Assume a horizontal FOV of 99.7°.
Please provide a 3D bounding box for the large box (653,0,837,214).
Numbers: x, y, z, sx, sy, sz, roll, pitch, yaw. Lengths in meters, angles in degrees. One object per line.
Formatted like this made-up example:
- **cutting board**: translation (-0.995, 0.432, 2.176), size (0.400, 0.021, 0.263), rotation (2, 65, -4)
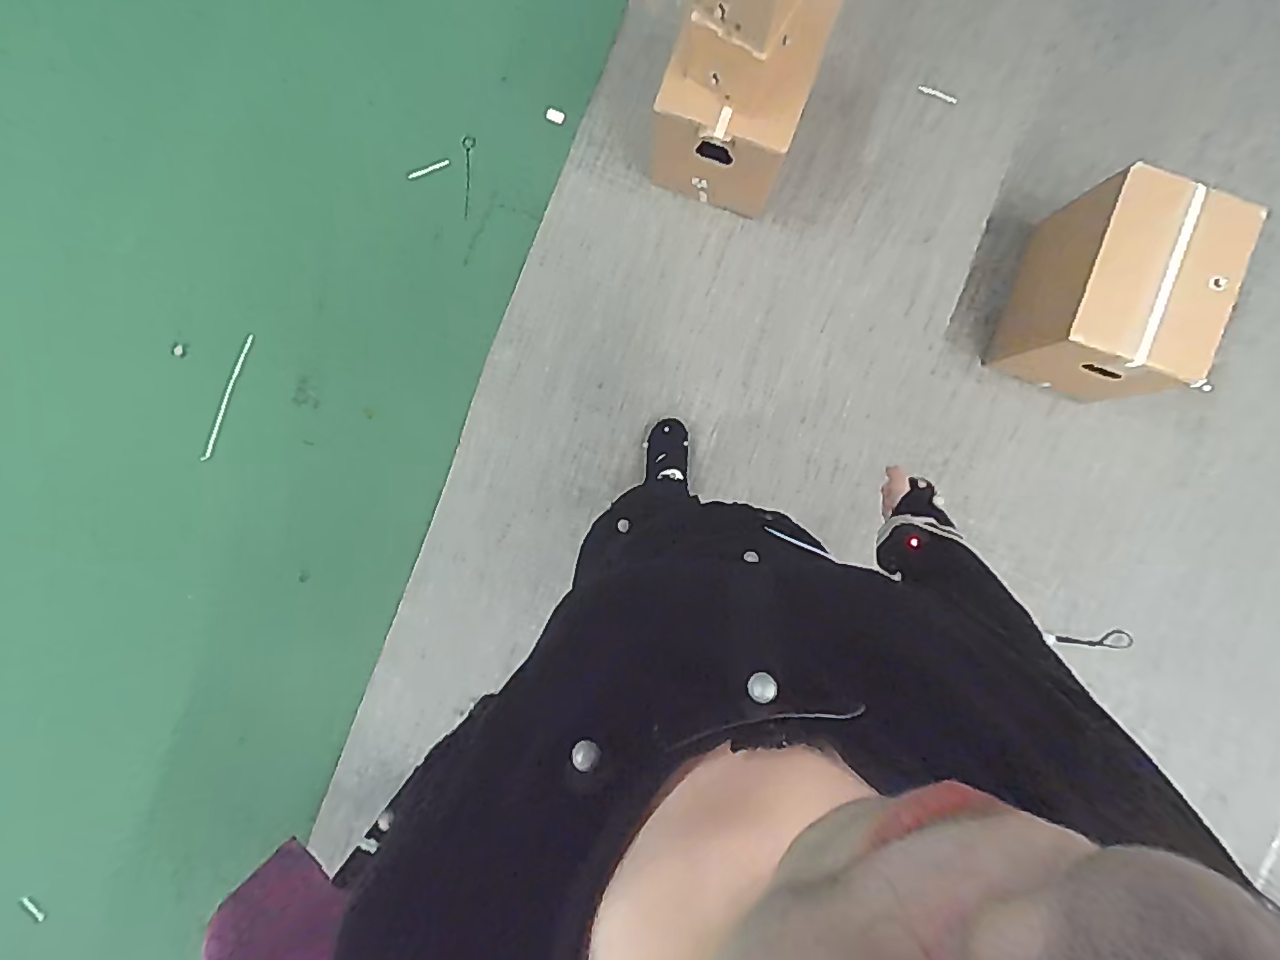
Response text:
- **large box**: translation (0.236, -0.947, 1.319), size (0.320, 0.320, 0.408), rotation (19, 91, 0)

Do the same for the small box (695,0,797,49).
- **small box**: translation (0.203, -0.903, 0.914), size (0.168, 0.176, 0.179), rotation (34, 93, 1)

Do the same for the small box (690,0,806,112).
- **small box**: translation (0.209, -0.896, 1.077), size (0.168, 0.176, 0.179), rotation (30, 92, 1)
